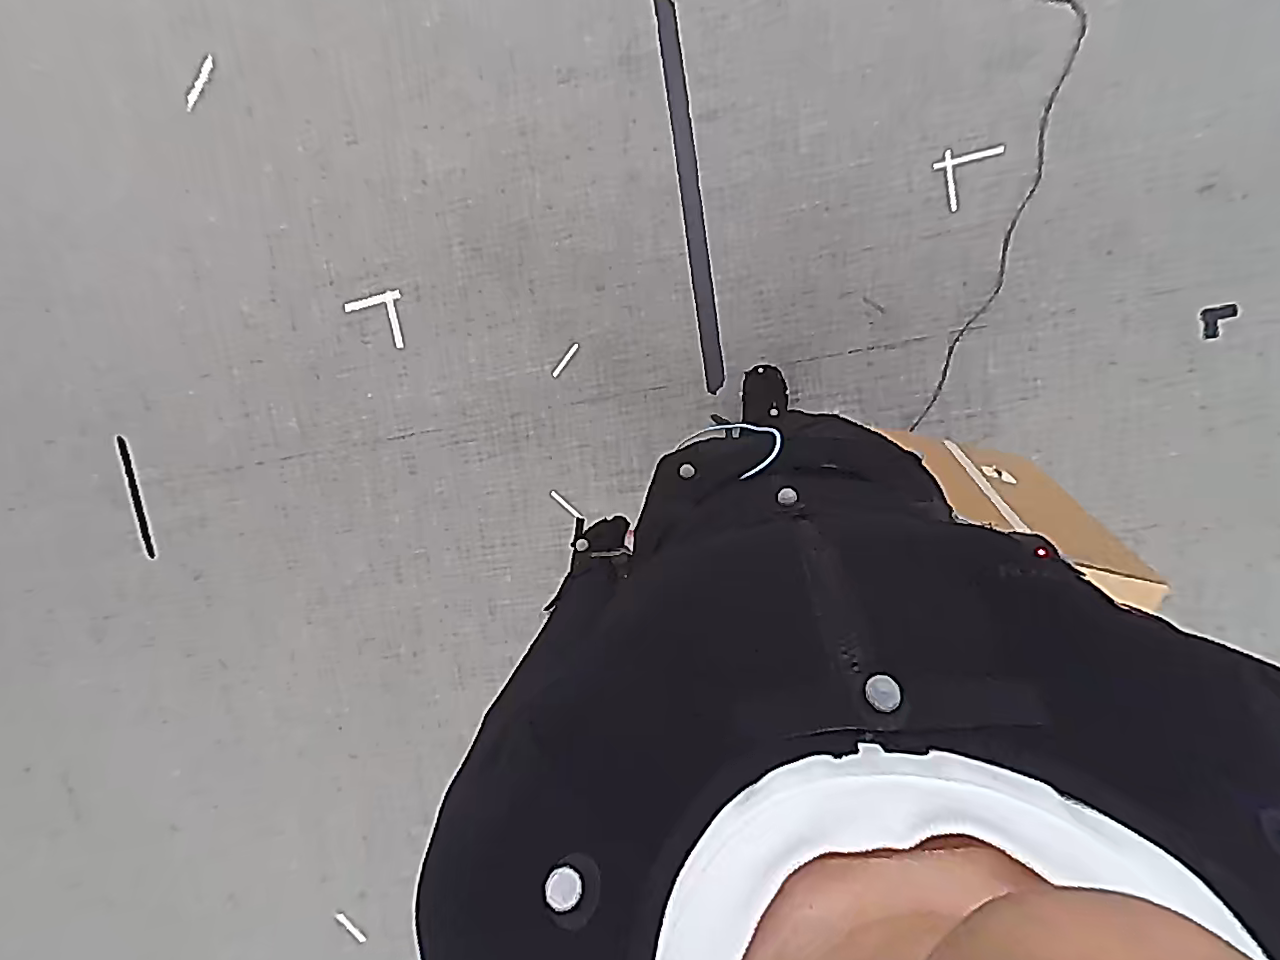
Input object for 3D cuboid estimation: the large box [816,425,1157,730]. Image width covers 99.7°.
[{"bbox_3d":[0.517,0.138,0.931,0.320,0.408,0.320,13,116,5],"label":"large box"}]
